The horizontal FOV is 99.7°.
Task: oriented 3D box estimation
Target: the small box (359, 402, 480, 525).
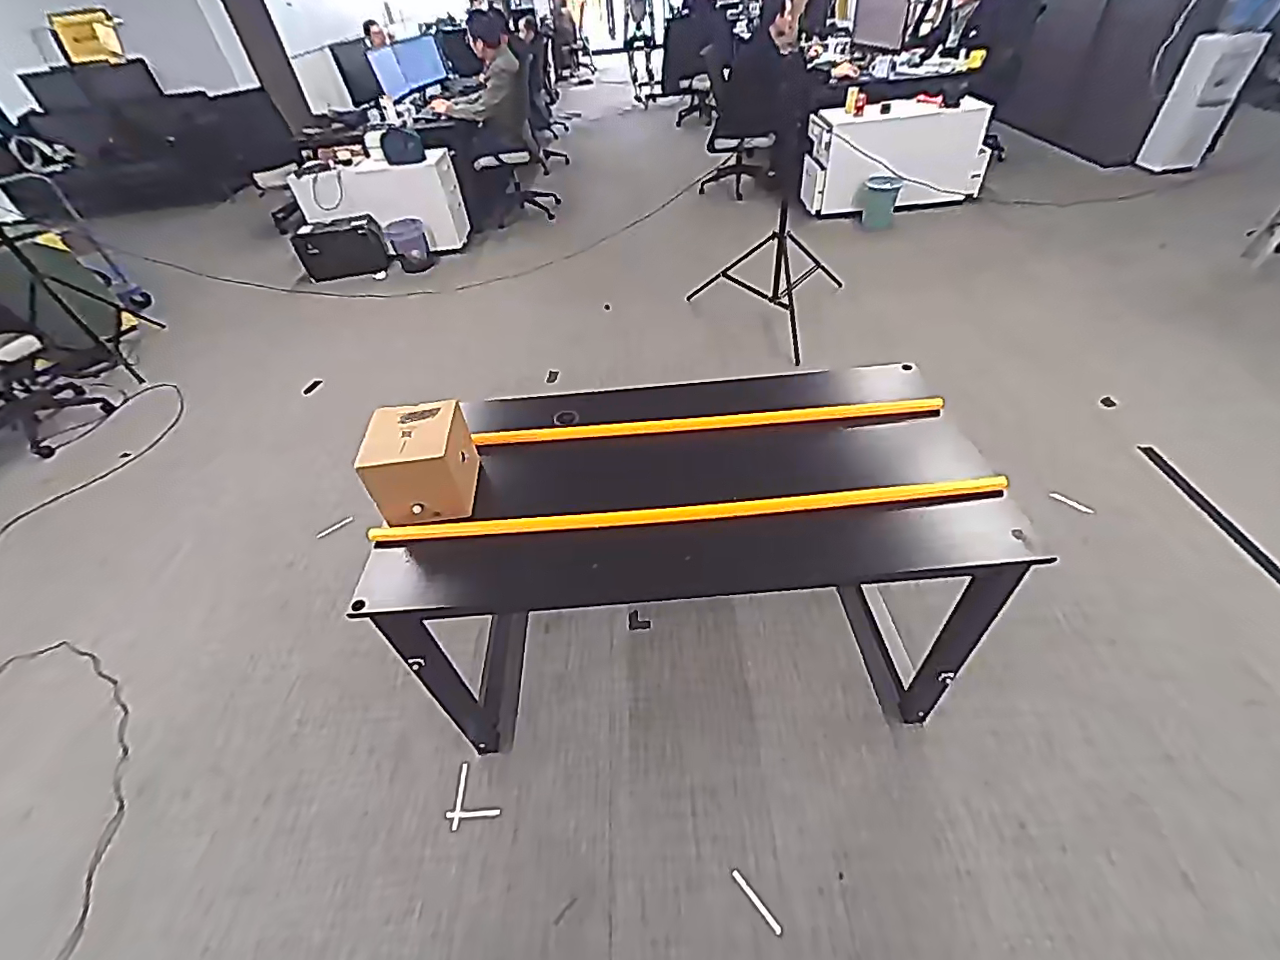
[{"bbox_3d":[-0.429,-0.033,1.088,0.168,0.176,0.179,-8,45,-1],"label":"small box"}]
